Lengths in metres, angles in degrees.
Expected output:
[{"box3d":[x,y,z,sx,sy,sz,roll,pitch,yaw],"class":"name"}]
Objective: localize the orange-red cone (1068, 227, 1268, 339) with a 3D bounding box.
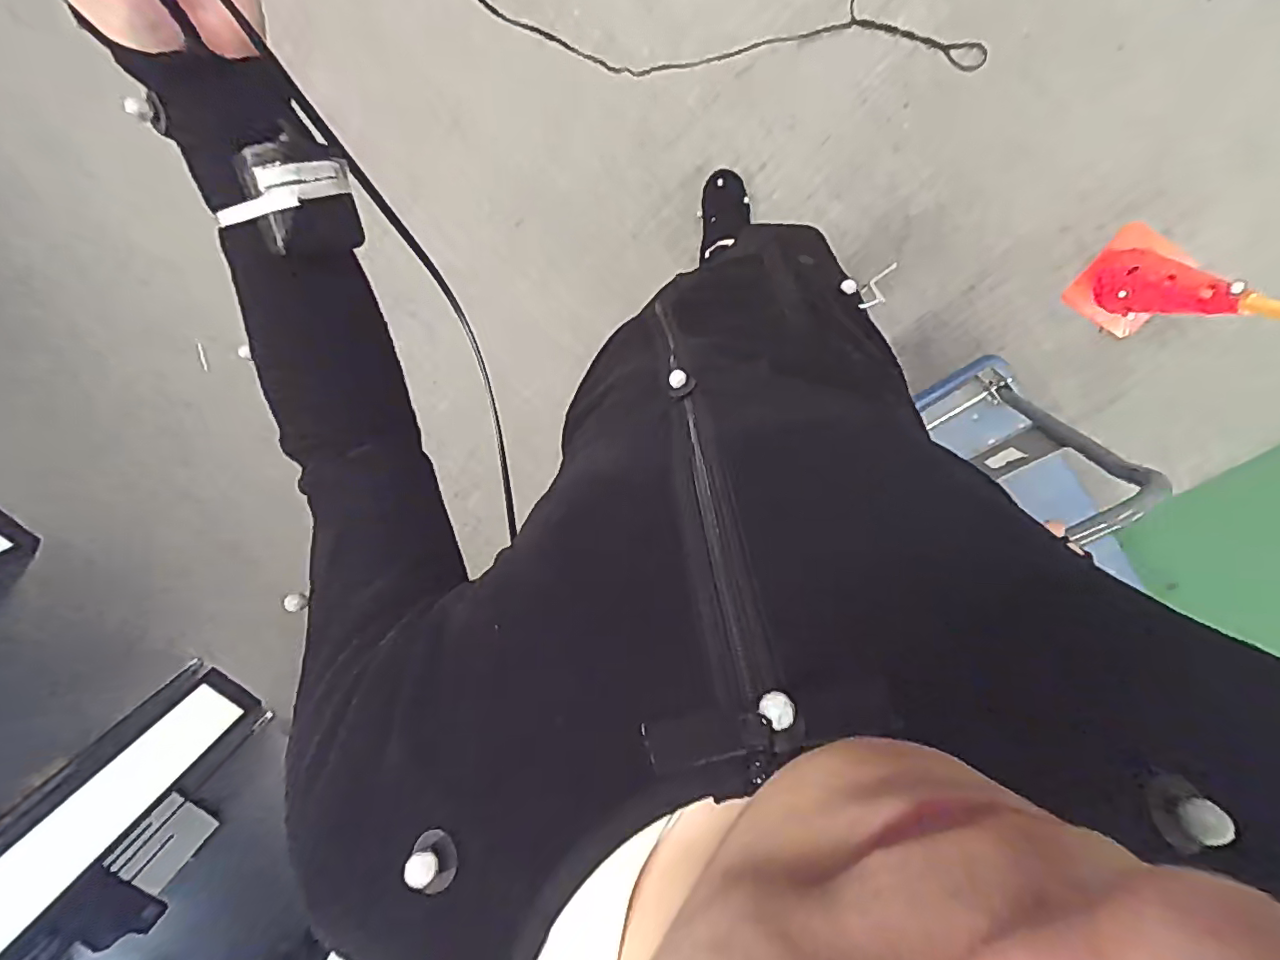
[{"box3d":[1.117,-0.384,1.111,0.198,0.360,0.199,31,116,-5],"class":"orange-red cone"}]
